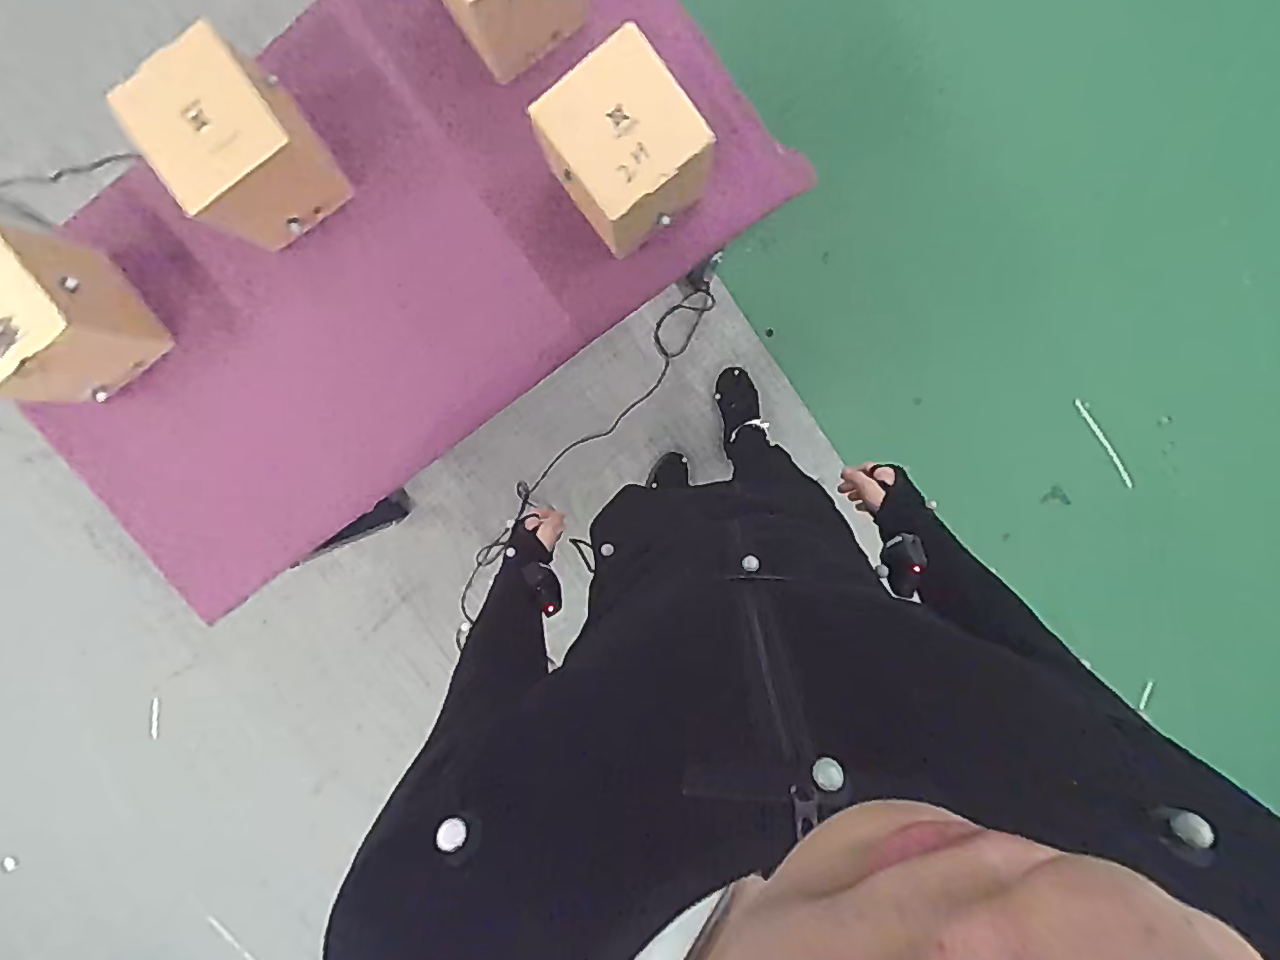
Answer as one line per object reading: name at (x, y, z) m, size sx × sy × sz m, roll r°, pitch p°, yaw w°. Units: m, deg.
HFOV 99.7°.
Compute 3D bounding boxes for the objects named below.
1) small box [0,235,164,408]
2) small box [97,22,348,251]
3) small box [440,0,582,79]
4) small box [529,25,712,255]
small box at (-0.853, -0.220, 0.768) m, size 0.168 × 0.176 × 0.179 m, roll -36°, pitch 97°, yaw 3°
small box at (-0.556, -0.453, 0.747) m, size 0.168 × 0.176 × 0.179 m, roll -34°, pitch 97°, yaw 4°
small box at (-0.196, -0.699, 0.719) m, size 0.168 × 0.176 × 0.179 m, roll -35°, pitch 96°, yaw 5°
small box at (-0.024, -0.448, 0.748) m, size 0.168 × 0.176 × 0.179 m, roll -37°, pitch 96°, yaw 5°
